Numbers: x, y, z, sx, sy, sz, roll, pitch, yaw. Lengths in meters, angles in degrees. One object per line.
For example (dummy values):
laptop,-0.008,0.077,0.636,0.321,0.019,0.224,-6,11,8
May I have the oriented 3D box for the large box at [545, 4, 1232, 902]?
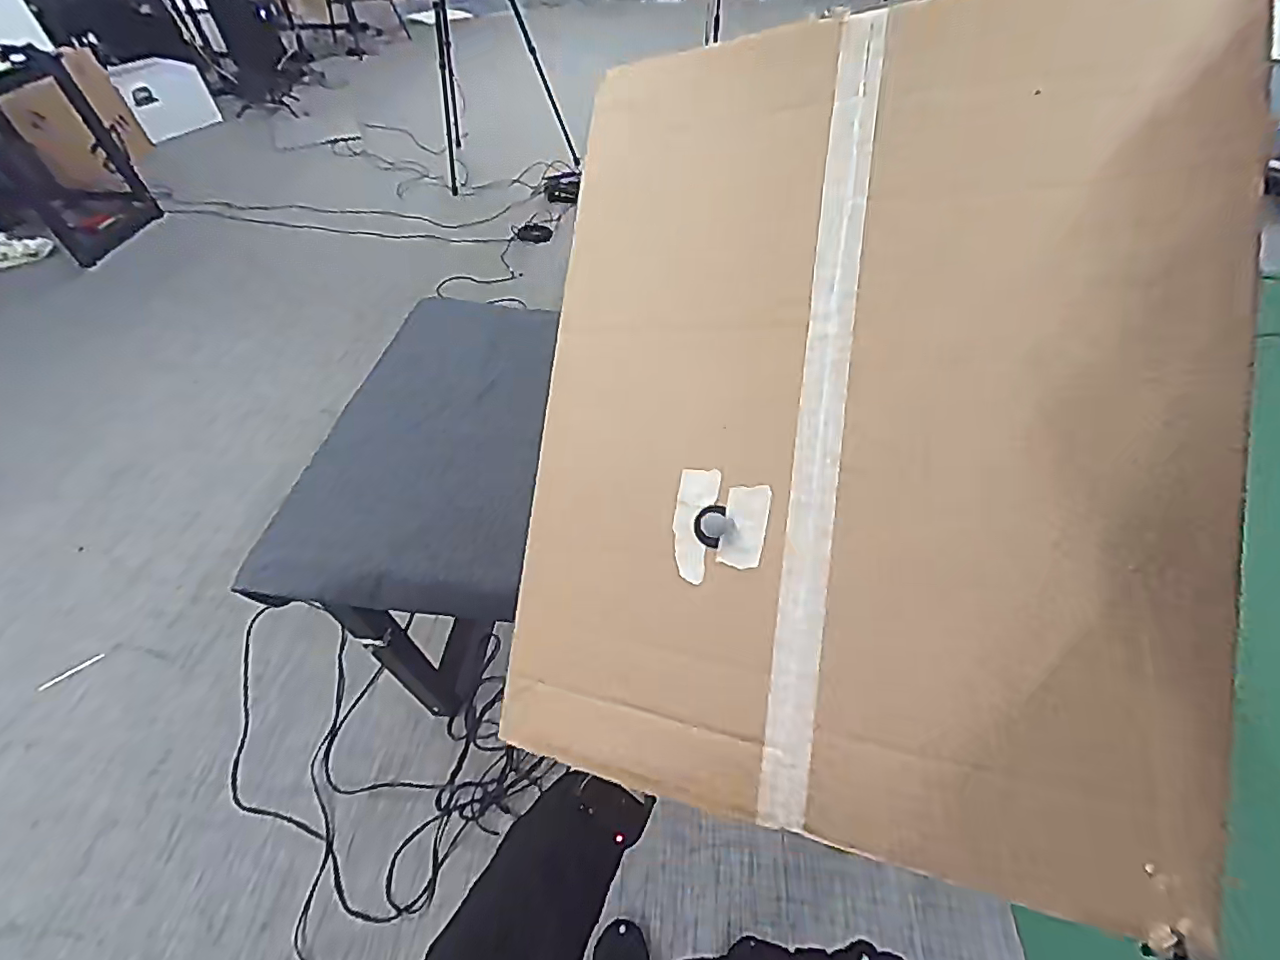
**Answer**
large box,0.152,-0.021,0.422,0.320,0.320,0.408,5,87,21
